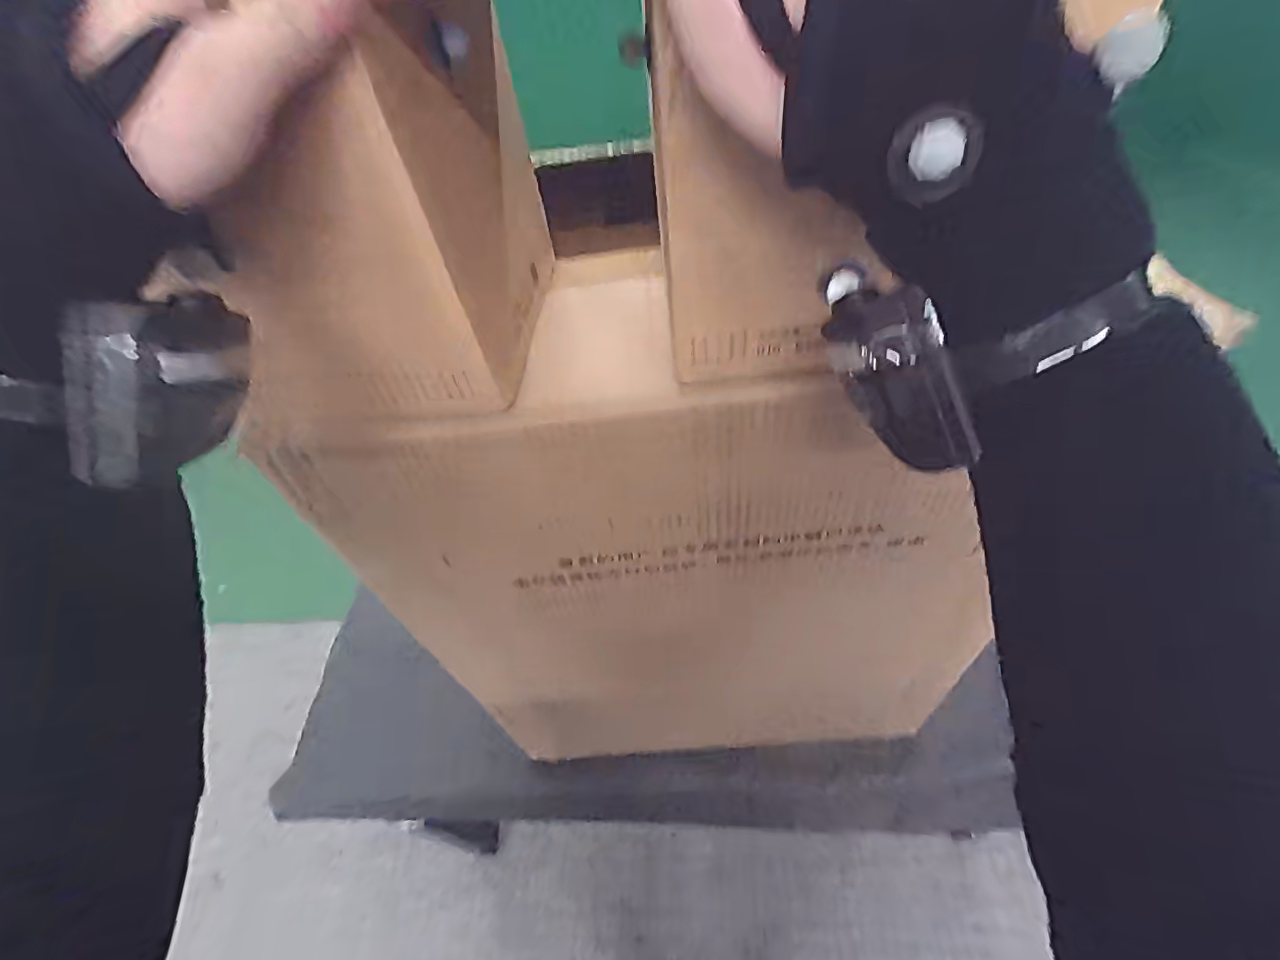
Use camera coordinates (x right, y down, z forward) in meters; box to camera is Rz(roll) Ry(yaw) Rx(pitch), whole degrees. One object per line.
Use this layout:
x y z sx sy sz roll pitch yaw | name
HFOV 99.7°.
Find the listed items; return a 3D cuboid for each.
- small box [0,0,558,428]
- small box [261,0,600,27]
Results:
-0.157 -0.142 0.289 0.179 0.176 0.168 -2 51 7 | small box
-0.061 -0.267 0.167 0.168 0.176 0.179 -9 50 2 | small box
